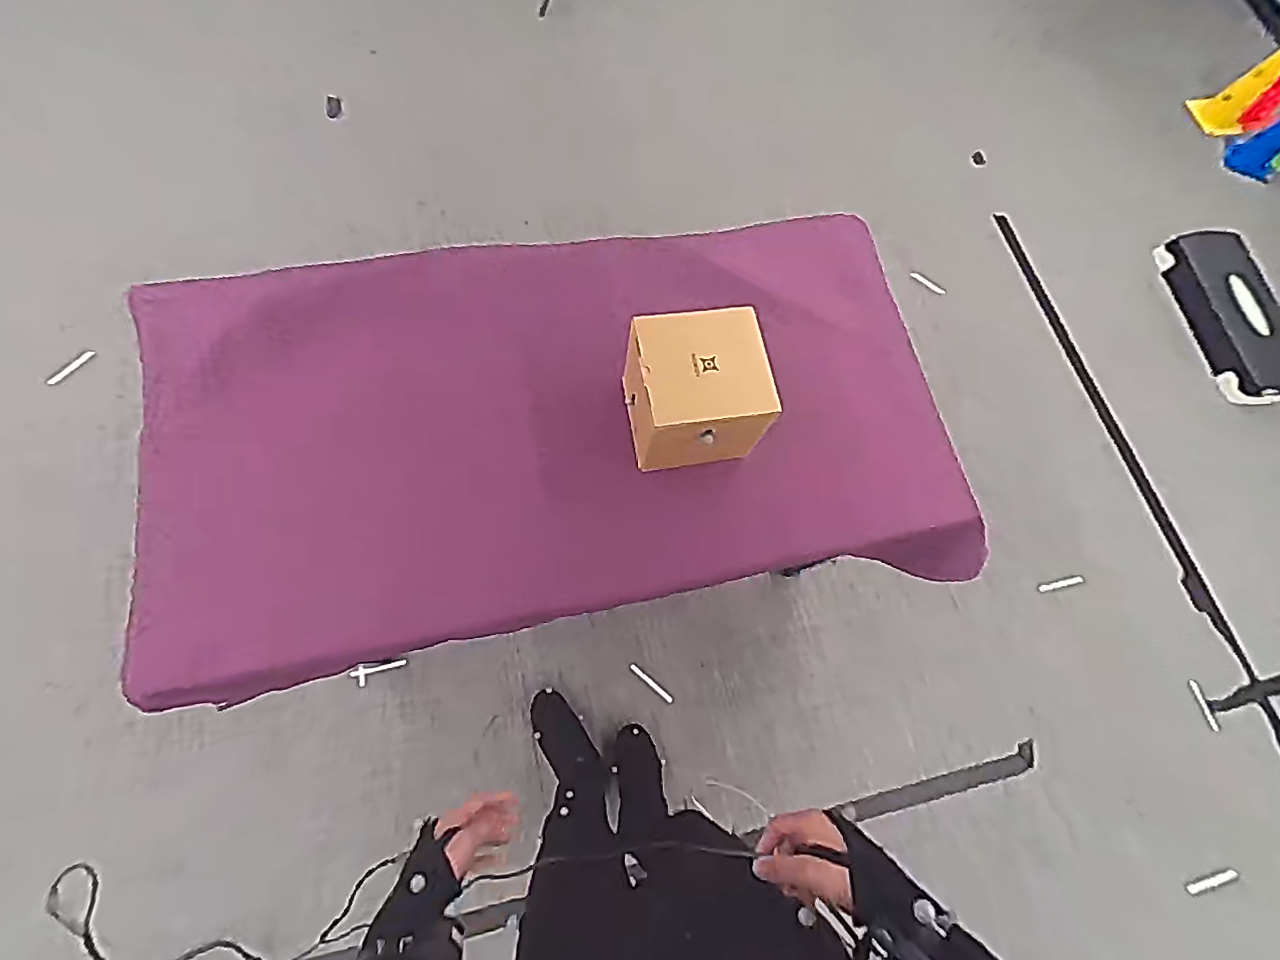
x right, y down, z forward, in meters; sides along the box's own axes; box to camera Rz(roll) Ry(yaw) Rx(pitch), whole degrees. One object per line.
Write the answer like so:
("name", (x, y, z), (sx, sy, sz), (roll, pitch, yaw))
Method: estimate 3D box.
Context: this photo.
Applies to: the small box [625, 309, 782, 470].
("small box", (0.080, -0.125, 0.788), (0.179, 0.176, 0.168), (-8, 73, -7))
